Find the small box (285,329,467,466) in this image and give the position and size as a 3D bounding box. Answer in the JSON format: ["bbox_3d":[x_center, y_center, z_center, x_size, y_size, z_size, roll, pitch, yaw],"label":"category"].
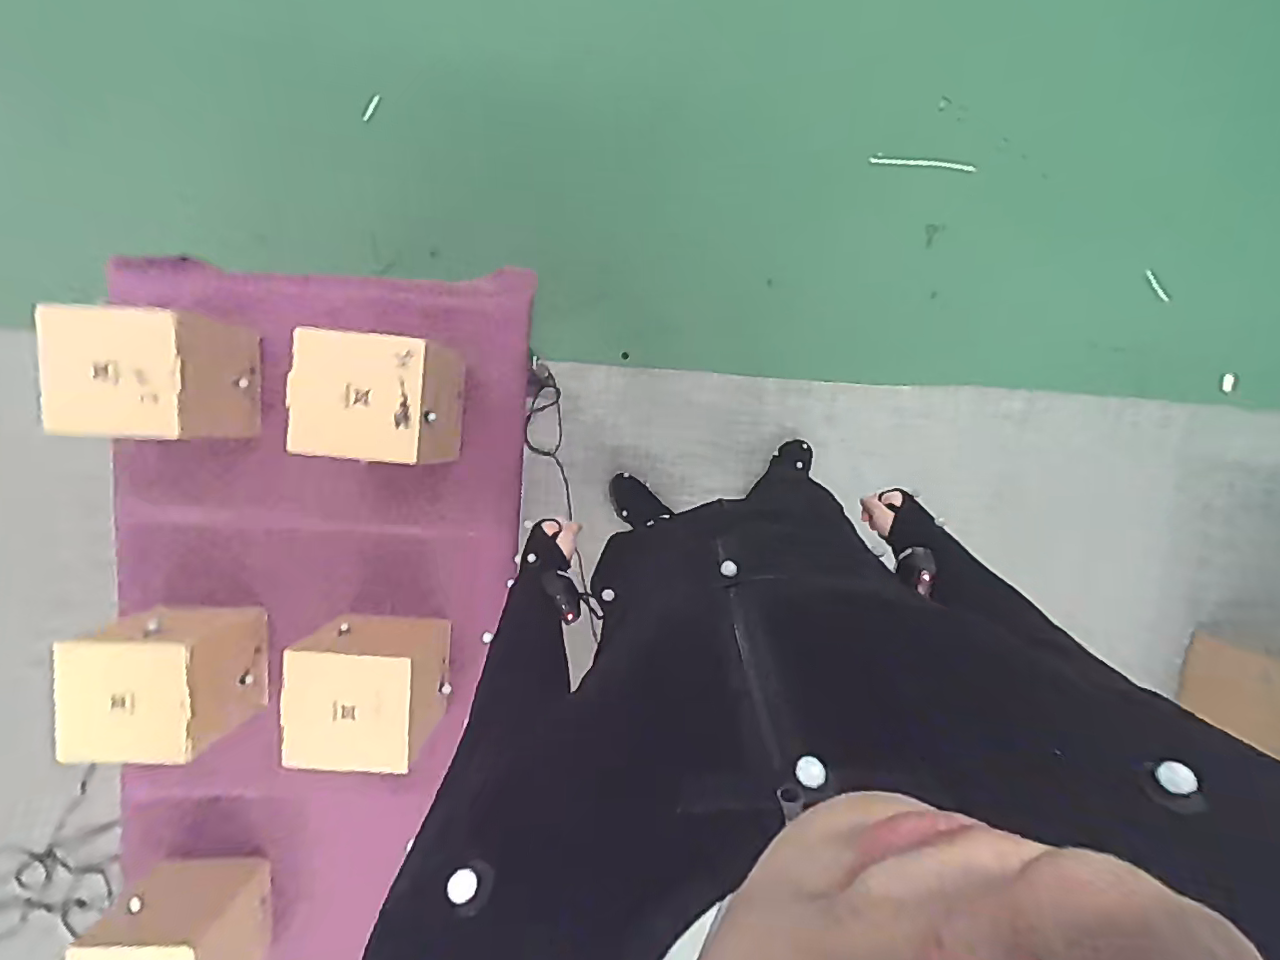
[{"bbox_3d":[-0.369,-0.111,0.781,0.179,0.176,0.168,5,94,0],"label":"small box"}]

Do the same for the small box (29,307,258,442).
[{"bbox_3d":[-0.685,-0.140,0.766,0.179,0.176,0.168,2,96,-3],"label":"small box"}]

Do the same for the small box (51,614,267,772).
[{"bbox_3d":[-0.692,0.302,0.794,0.179,0.176,0.168,1,93,-3],"label":"small box"}]

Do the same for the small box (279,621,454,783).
[{"bbox_3d":[-0.395,0.317,0.804,0.179,0.176,0.168,4,94,-2],"label":"small box"}]
